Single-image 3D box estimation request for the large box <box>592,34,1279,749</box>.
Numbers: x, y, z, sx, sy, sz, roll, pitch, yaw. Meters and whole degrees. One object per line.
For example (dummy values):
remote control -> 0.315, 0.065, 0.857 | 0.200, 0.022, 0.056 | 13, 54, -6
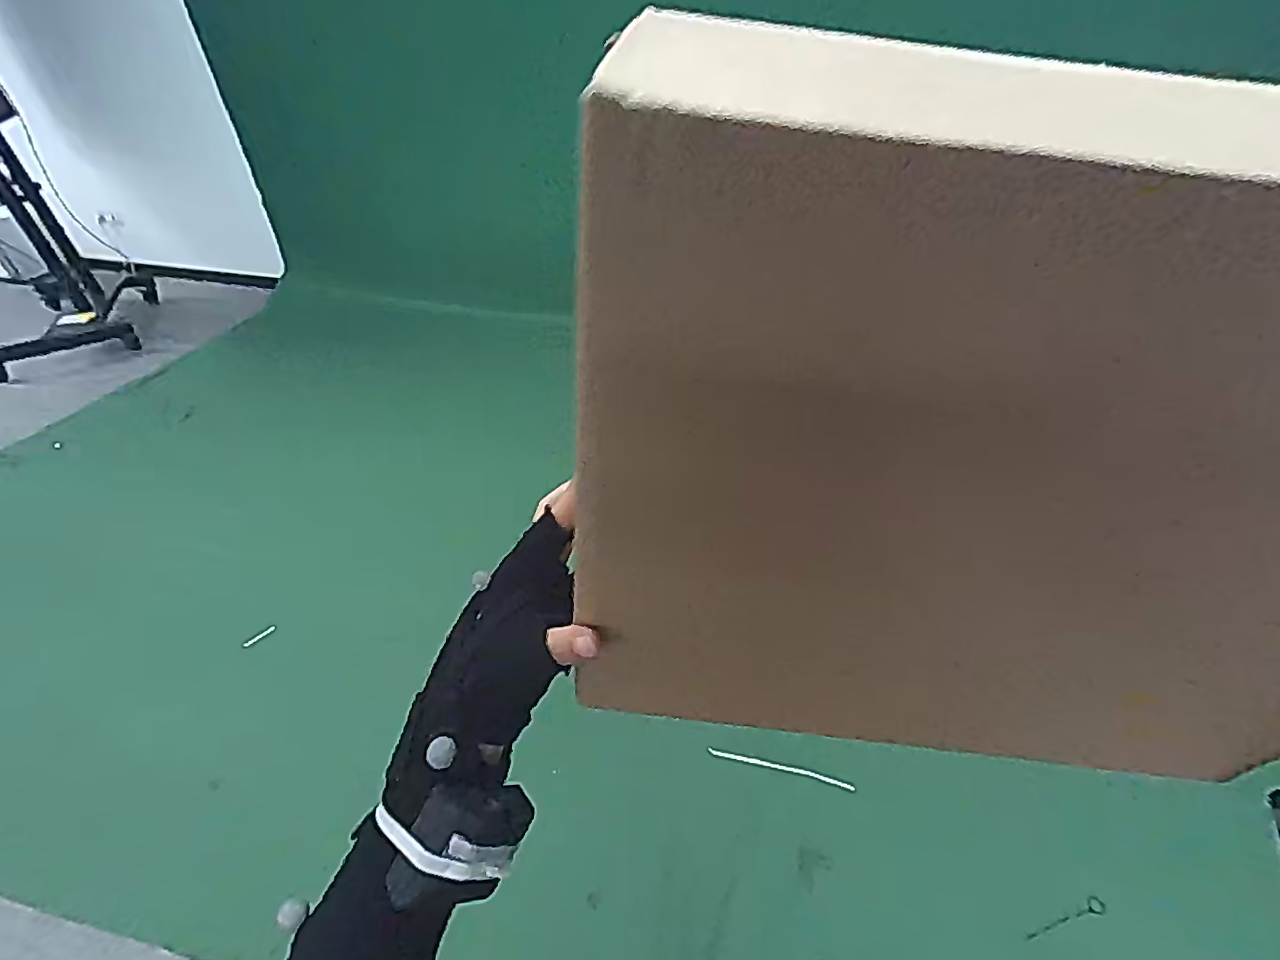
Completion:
large box -> 0.188, -0.057, 0.350 | 0.408, 0.320, 0.320 | 7, 44, -1
